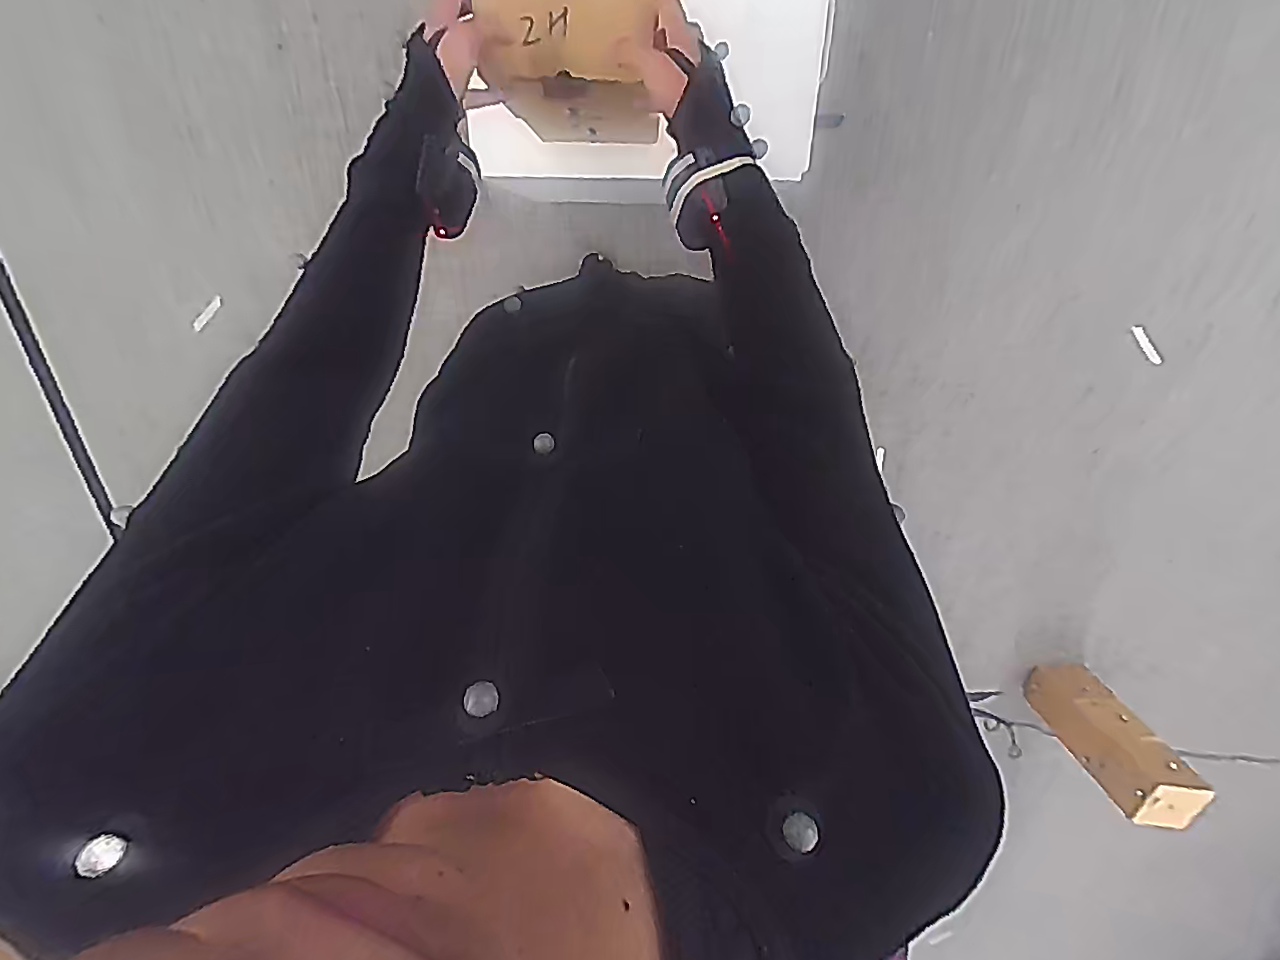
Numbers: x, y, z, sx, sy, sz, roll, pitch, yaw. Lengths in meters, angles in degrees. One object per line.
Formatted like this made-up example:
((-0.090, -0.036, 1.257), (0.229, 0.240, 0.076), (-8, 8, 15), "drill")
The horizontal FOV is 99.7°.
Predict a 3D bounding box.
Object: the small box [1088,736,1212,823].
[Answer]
((1.540, 0.907, 1.645), (0.179, 0.176, 0.168), (8, 113, -5), "small box")

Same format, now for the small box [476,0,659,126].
((-0.064, -0.485, 0.549), (0.168, 0.176, 0.179), (3, 113, -1), "small box")

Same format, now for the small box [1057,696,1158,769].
((1.541, 0.843, 1.796), (0.168, 0.176, 0.179), (1, 114, -1), "small box")

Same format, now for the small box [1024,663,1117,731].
((1.541, 0.777, 1.944), (0.179, 0.176, 0.168), (0, 113, 0), "small box")
